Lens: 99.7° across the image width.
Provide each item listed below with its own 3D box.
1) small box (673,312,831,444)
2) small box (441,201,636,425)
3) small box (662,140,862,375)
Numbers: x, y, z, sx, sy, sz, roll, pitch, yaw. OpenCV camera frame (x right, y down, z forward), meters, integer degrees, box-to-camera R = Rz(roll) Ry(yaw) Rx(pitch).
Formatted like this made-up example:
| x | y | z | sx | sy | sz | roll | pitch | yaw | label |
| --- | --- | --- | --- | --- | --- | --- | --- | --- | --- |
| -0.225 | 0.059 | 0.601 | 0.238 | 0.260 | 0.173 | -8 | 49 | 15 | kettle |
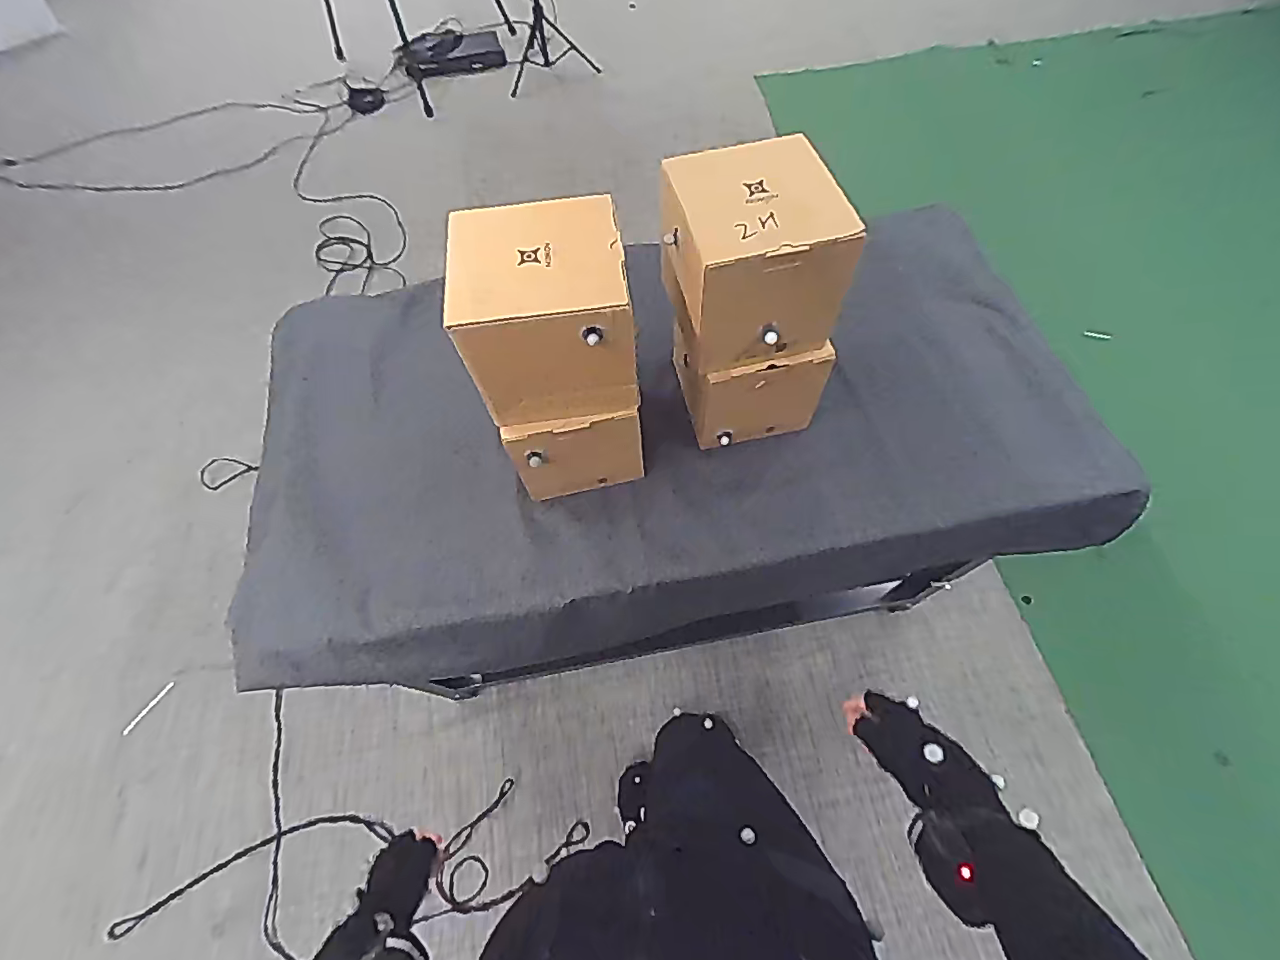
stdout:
| x | y | z | sx | sy | sz | roll | pitch | yaw | label |
| --- | --- | --- | --- | --- | --- | --- | --- | --- | --- |
| 0.146 | -0.167 | 0.770 | 0.168 | 0.176 | 0.179 | -12 | 62 | -3 | small box |
| -0.103 | -0.177 | 0.605 | 0.179 | 0.176 | 0.168 | -8 | 61 | -2 | small box |
| 0.123 | -0.252 | 0.631 | 0.168 | 0.176 | 0.179 | -13 | 63 | -3 | small box |
